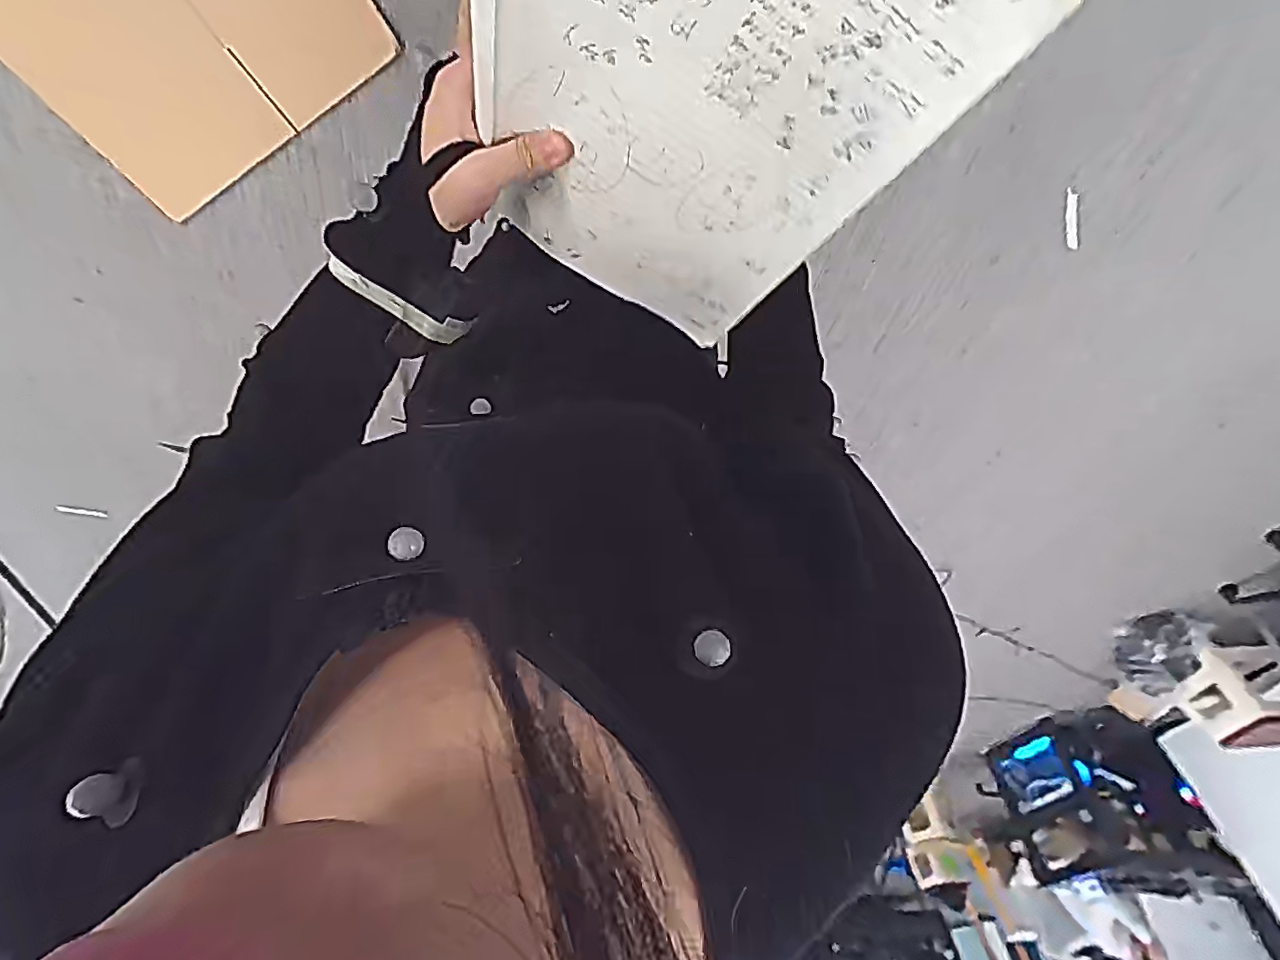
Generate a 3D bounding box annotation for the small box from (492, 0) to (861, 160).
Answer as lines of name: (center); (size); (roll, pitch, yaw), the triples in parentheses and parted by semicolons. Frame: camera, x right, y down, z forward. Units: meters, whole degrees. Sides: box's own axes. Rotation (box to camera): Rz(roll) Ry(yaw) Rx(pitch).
small box: (0.019, -0.320, 0.310); (0.168, 0.176, 0.179); (-19, 162, -30)
